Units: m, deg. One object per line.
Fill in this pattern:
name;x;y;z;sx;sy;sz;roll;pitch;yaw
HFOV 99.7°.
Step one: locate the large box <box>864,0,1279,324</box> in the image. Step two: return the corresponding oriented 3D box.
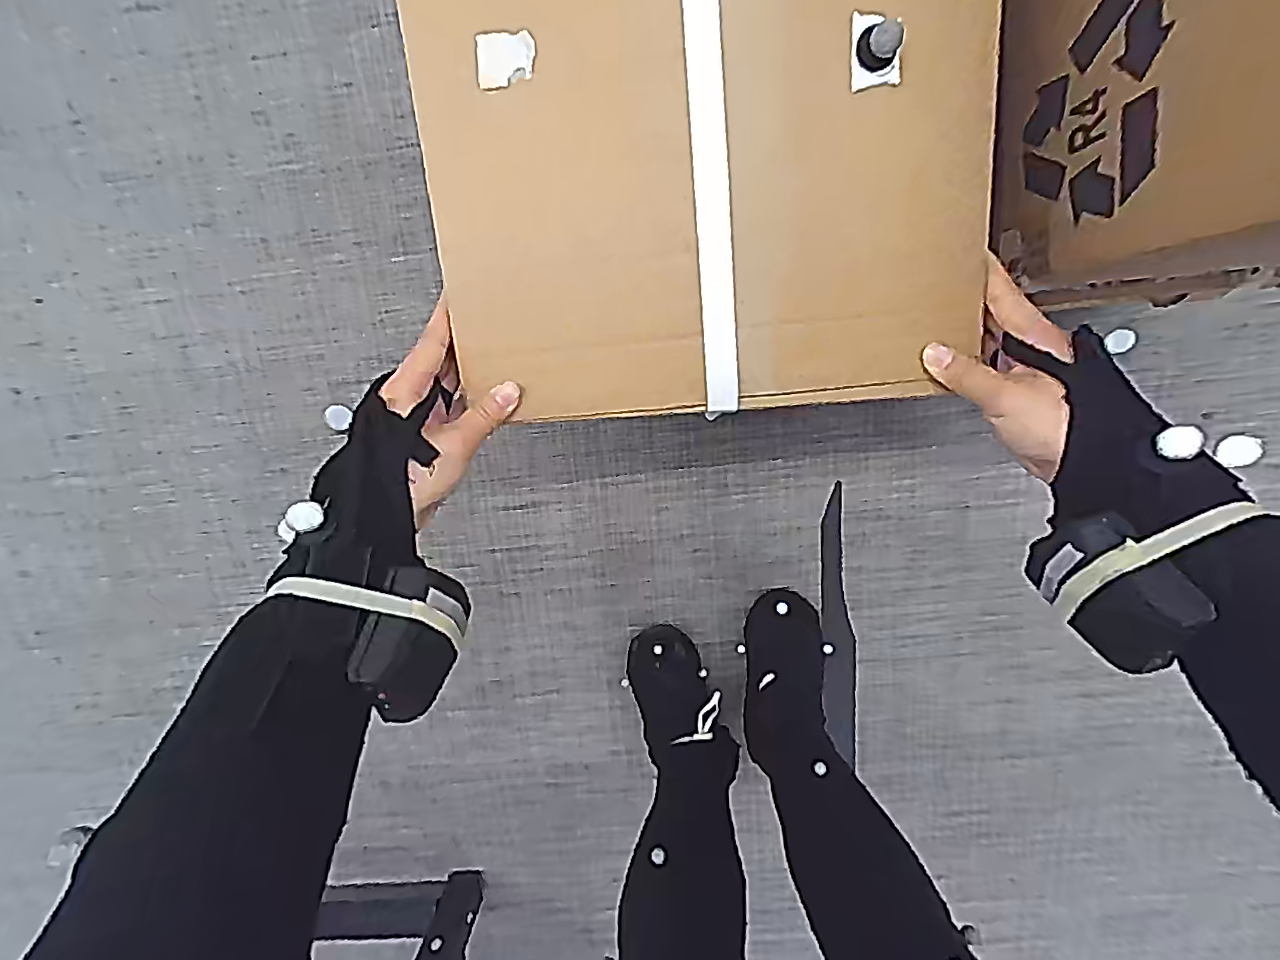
large box;0.426;-0.377;0.505;0.320;0.320;0.408;-6;103;3
